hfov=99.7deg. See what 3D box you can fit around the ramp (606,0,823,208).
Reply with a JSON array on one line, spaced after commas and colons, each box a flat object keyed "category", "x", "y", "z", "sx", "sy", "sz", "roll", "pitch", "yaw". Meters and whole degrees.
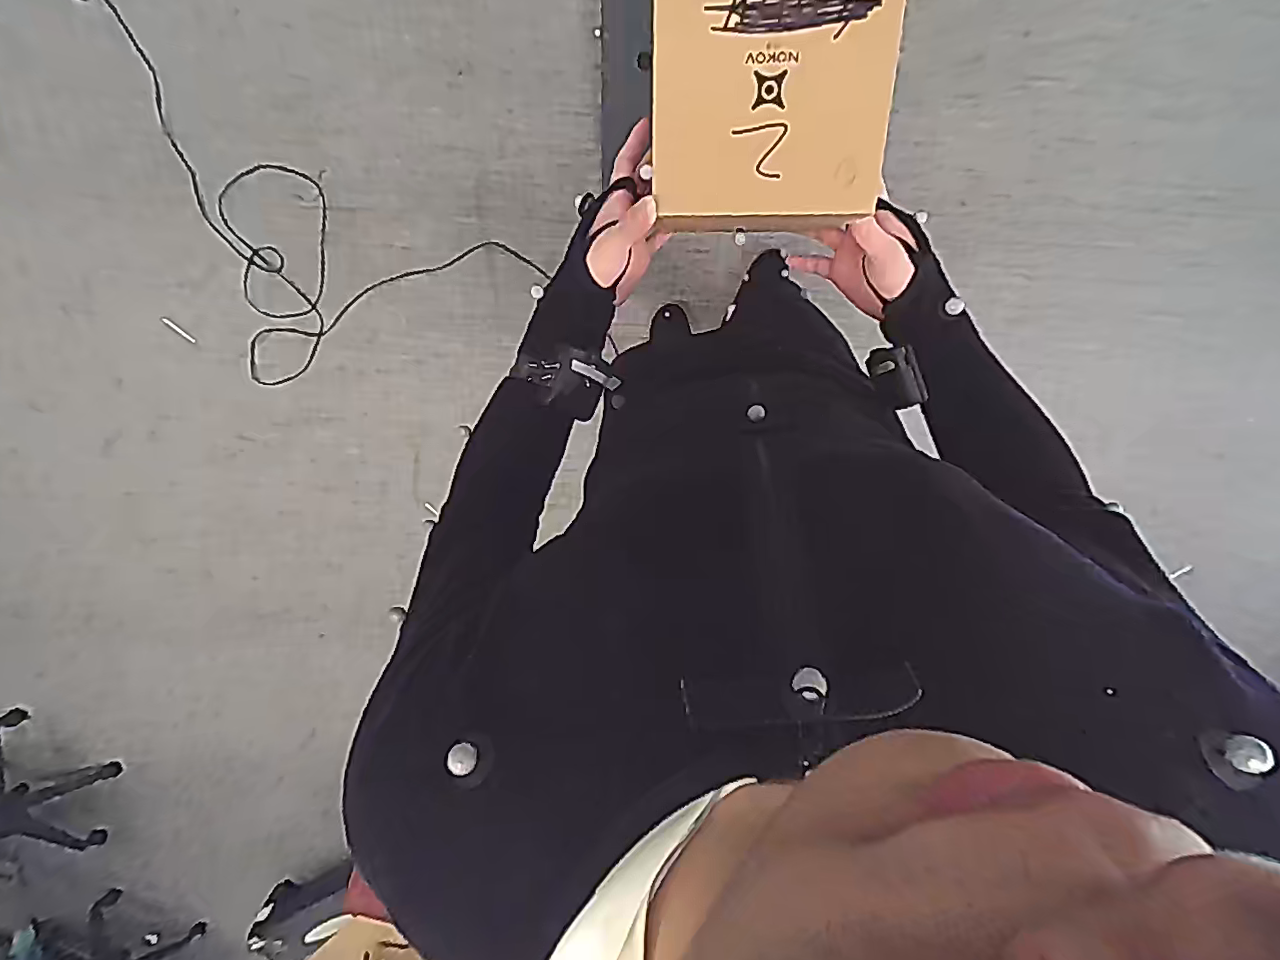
[{"category": "ramp", "x": 0.171, "y": -1.156, "z": 1.181, "sx": 0.509, "sy": 0.206, "sz": 0.991, "roll": 0, "pitch": 108, "yaw": -1}]
